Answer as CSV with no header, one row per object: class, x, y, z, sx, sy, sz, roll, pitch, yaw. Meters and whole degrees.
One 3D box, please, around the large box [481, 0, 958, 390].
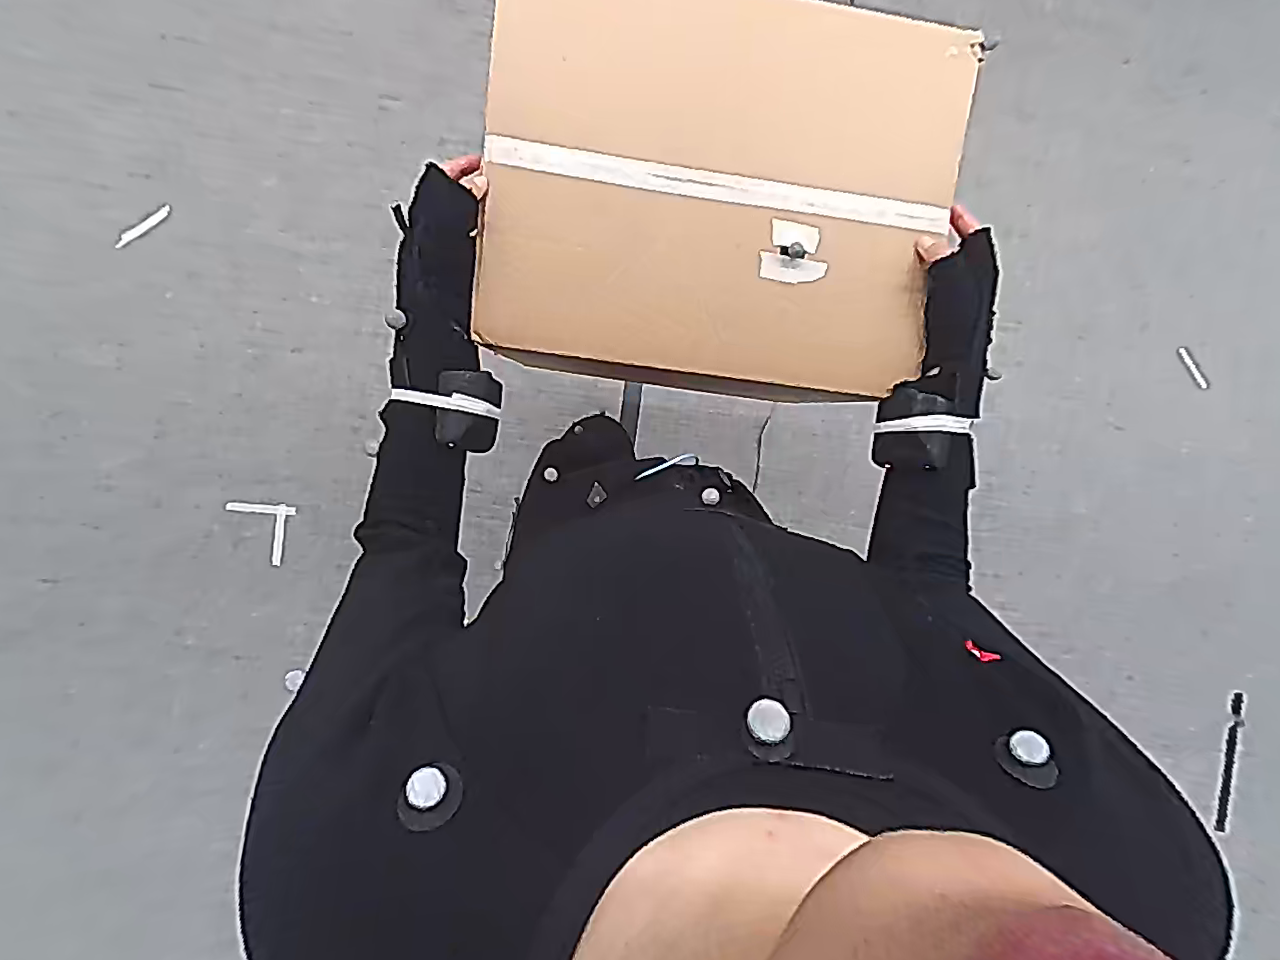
large box,0.056,-0.283,0.626,0.408,0.320,0.320,7,99,-6
